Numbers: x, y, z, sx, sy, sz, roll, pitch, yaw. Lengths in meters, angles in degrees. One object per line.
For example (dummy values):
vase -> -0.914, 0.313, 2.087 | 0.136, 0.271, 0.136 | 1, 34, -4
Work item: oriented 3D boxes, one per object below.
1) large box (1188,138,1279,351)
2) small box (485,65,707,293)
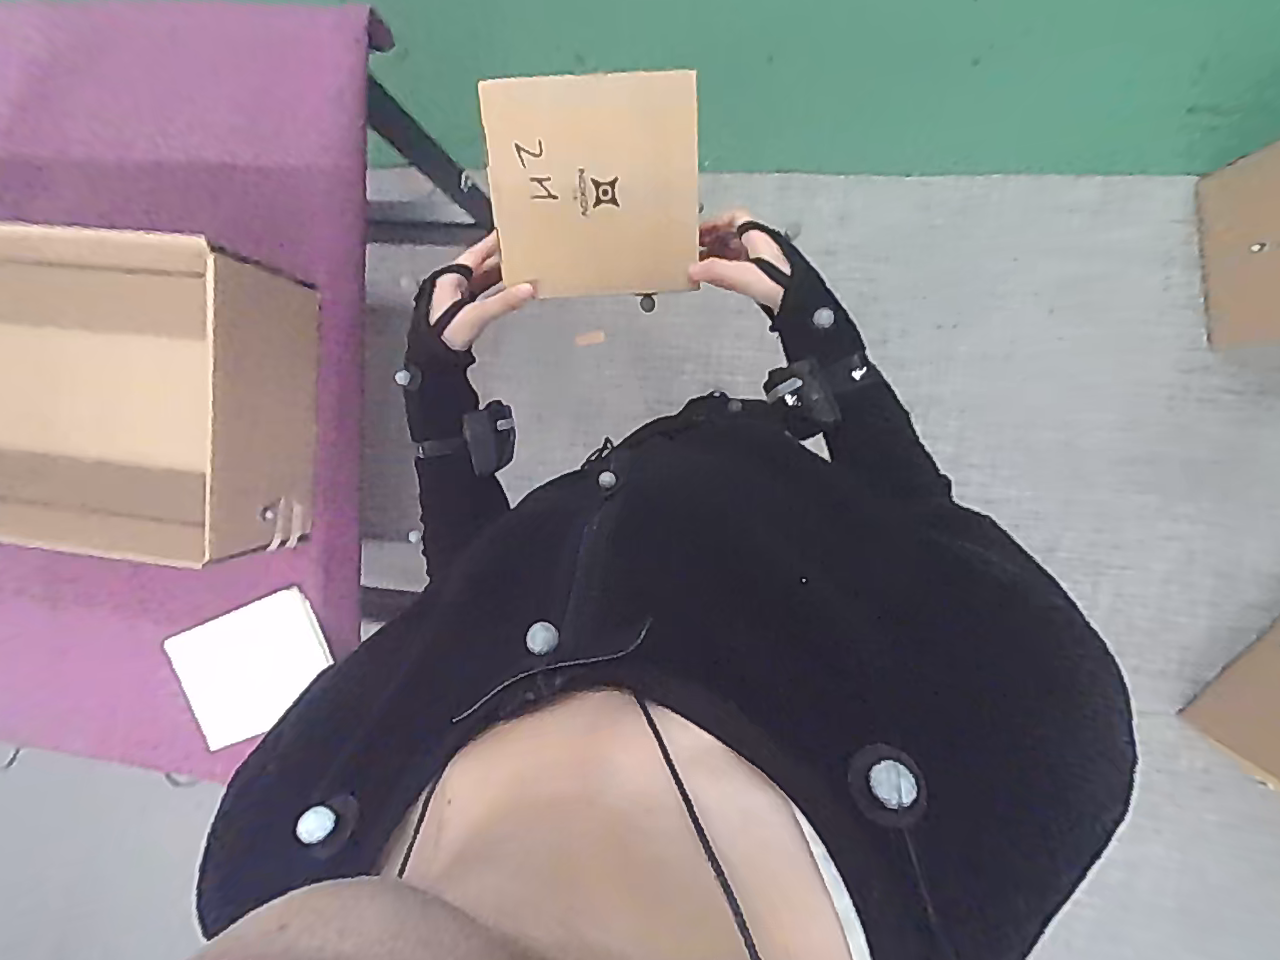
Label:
large box -> 1.474, -0.522, 1.137 | 0.320, 0.320, 0.408 | -10, 92, 7
small box -> -0.035, -0.271, 0.520 | 0.179, 0.176, 0.168 | -3, 109, -1
